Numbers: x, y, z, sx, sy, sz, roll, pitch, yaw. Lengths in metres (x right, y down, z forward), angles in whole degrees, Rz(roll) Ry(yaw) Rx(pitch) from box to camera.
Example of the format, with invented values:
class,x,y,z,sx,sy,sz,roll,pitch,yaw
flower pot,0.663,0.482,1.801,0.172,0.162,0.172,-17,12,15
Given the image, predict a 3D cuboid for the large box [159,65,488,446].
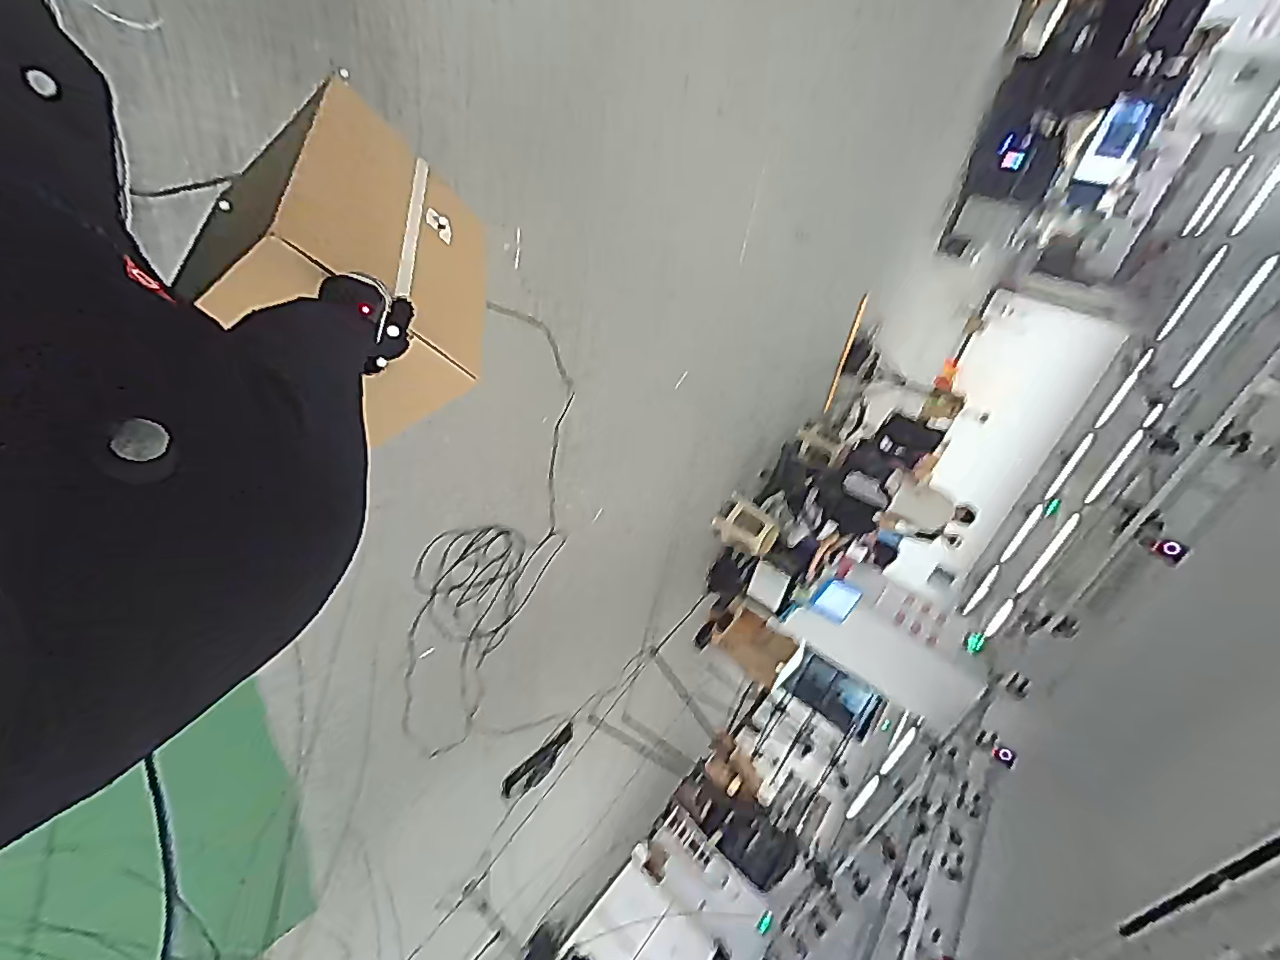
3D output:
class,x,y,z,sx,sy,sz,roll,pitch,yaw
large box,-0.467,-0.330,0.867,0.320,0.408,0.320,-24,146,23
